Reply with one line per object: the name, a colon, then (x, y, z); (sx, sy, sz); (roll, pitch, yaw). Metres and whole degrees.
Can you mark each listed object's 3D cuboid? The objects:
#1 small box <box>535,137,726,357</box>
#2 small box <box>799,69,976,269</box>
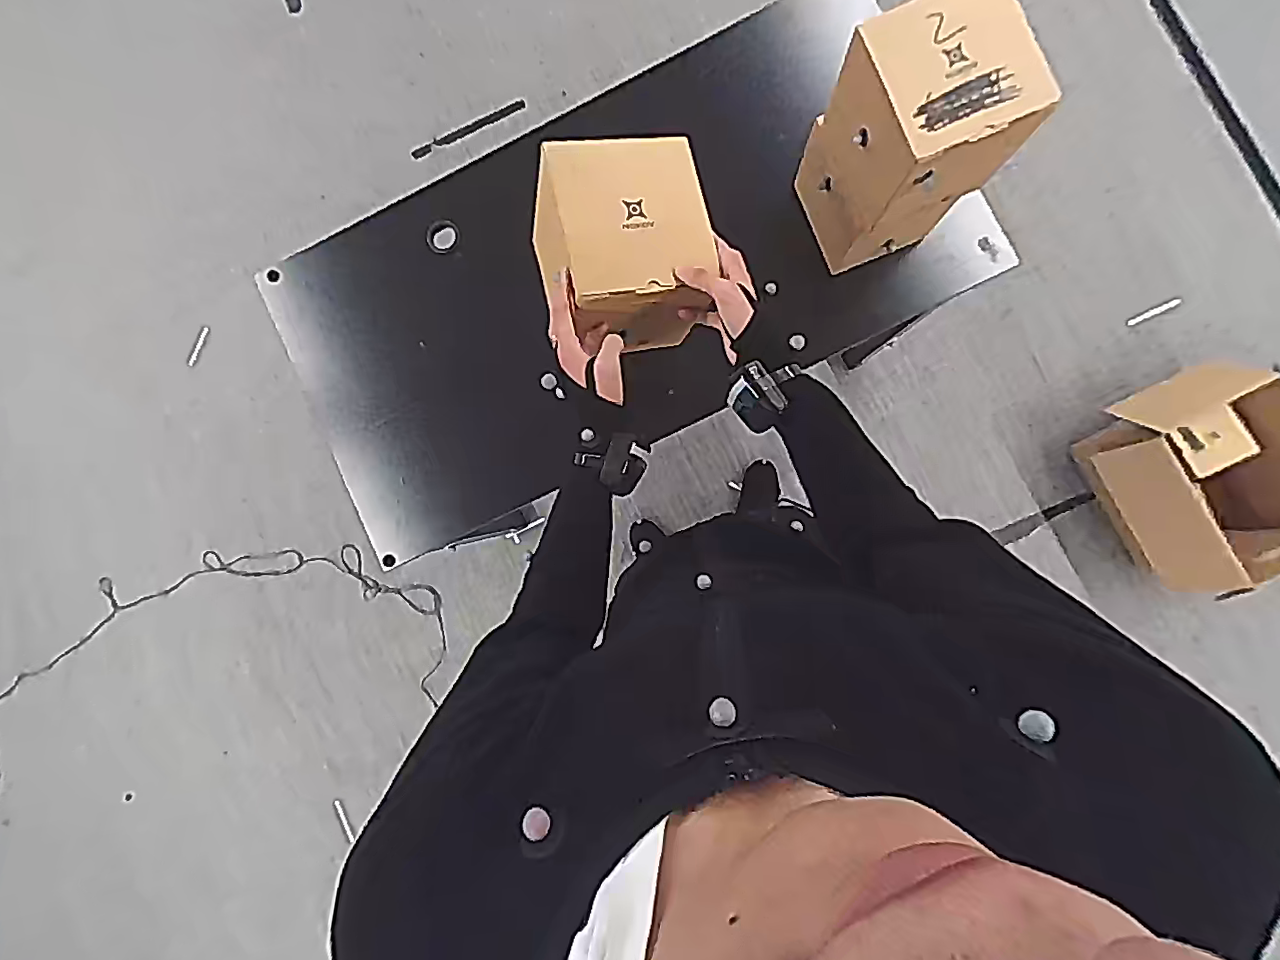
small box: (-0.024, -0.266, 0.639); (0.168, 0.176, 0.179); (-12, 84, -16)
small box: (0.361, -0.459, 0.827); (0.168, 0.176, 0.179); (-21, 87, 5)
